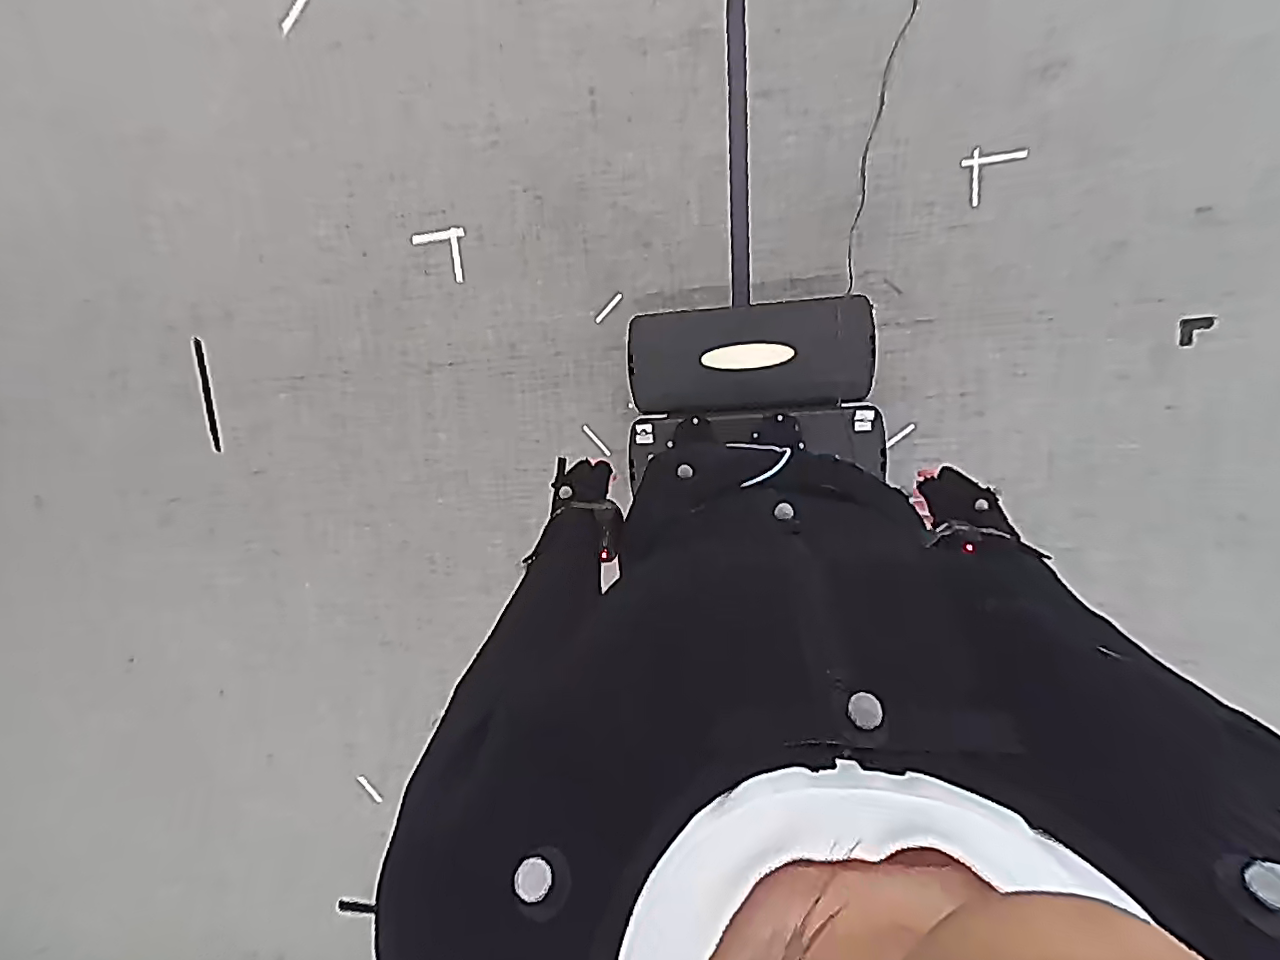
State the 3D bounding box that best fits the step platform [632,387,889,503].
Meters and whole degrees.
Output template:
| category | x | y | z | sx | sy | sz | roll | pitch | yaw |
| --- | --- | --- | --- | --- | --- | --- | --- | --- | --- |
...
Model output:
| category | x | y | z | sx | sy | sz | roll | pitch | yaw |
| --- | --- | --- | --- | --- | --- | --- | --- | --- | --- |
| step platform | 0.318 | -0.093 | 1.505 | 0.684 | 0.204 | 0.286 | -3 | 98 | 11 |
